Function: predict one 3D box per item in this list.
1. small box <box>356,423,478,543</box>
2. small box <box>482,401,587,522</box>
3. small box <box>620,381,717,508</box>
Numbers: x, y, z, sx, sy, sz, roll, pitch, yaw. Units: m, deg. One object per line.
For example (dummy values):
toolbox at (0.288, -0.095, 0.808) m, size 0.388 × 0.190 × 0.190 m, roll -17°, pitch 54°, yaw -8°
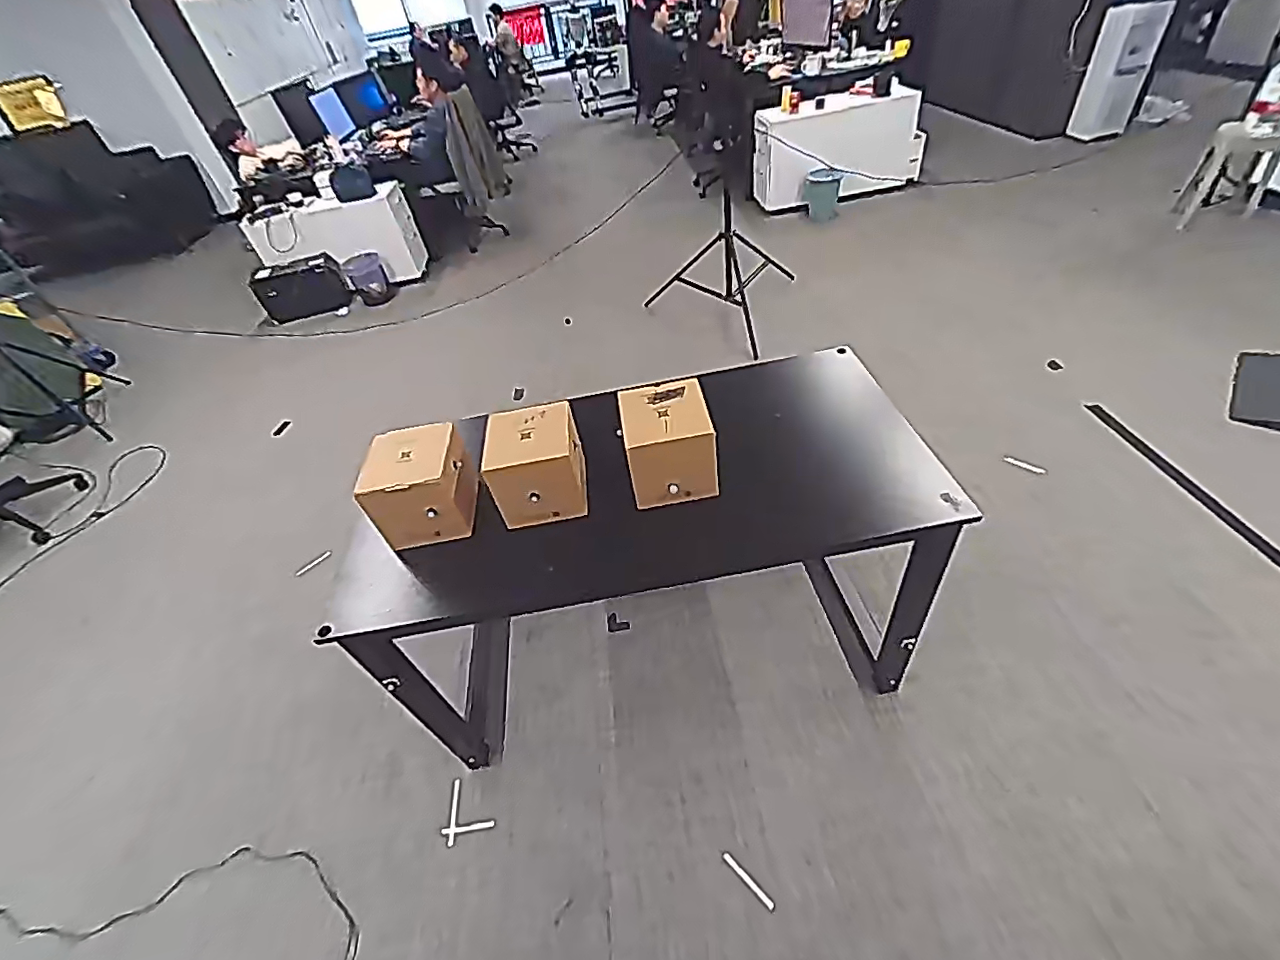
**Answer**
small box at (-0.441, 0.013, 1.102) m, size 0.168 × 0.176 × 0.179 m, roll -10°, pitch 42°, yaw 0°
small box at (-0.205, -0.031, 1.096) m, size 0.168 × 0.176 × 0.179 m, roll -10°, pitch 43°, yaw 1°
small box at (0.057, -0.070, 1.084) m, size 0.168 × 0.176 × 0.179 m, roll -10°, pitch 44°, yaw 1°
